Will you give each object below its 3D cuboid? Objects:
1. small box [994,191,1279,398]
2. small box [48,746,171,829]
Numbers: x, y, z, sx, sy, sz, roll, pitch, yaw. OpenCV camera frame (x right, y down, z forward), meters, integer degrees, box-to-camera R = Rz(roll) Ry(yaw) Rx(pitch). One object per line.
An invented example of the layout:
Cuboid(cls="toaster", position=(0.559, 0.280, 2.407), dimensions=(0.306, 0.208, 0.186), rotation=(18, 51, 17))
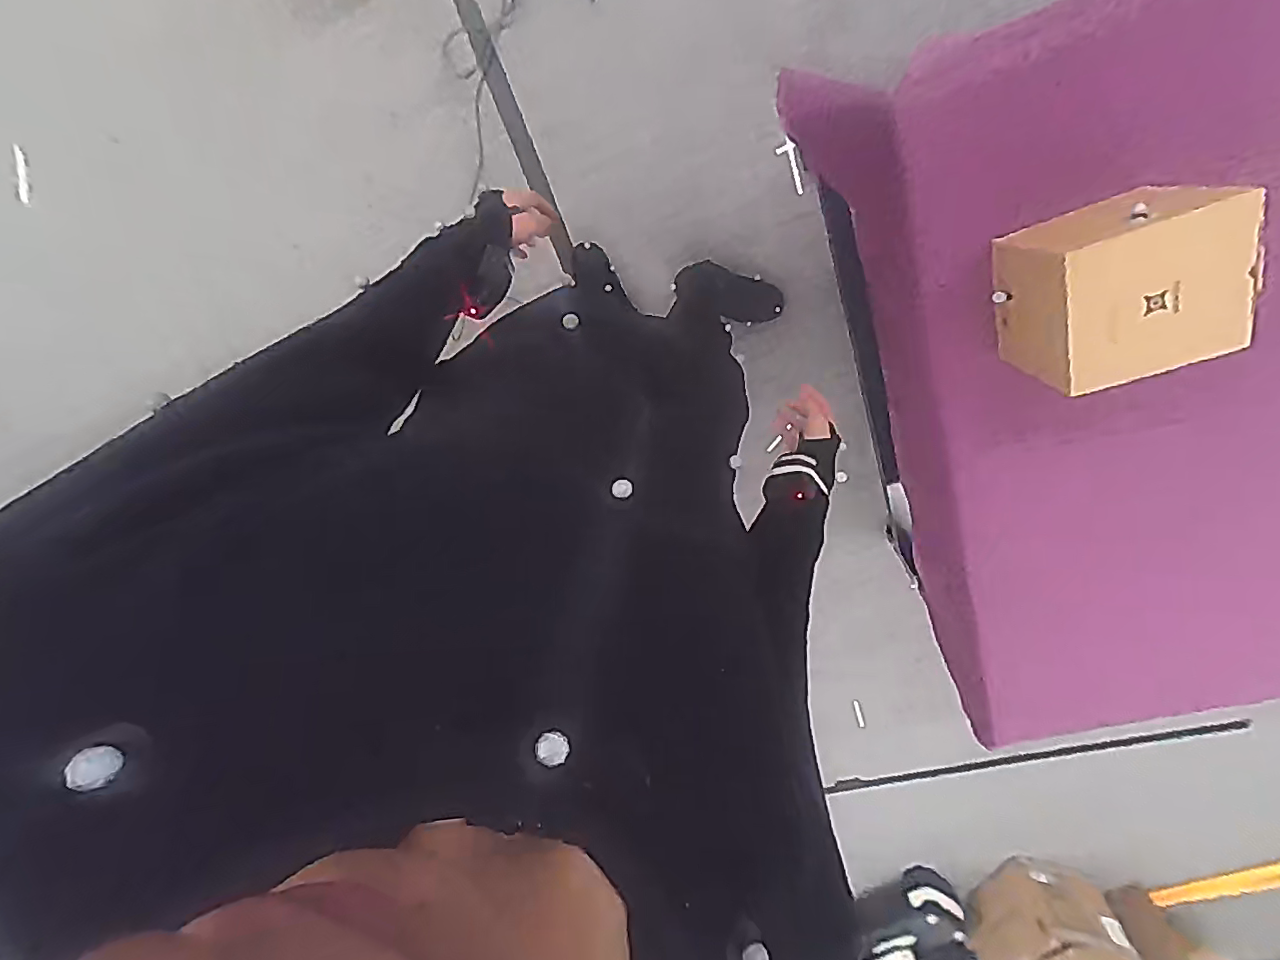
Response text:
Cuboid(cls="small box", position=(0.548, -0.221, 0.626), dimensions=(0.179, 0.176, 0.168), rotation=(-16, 115, 14))
Cuboid(cls="small box", position=(-1.616, 0.949, 1.659), dimensions=(0.179, 0.176, 0.168), rotation=(-16, 116, 15))
